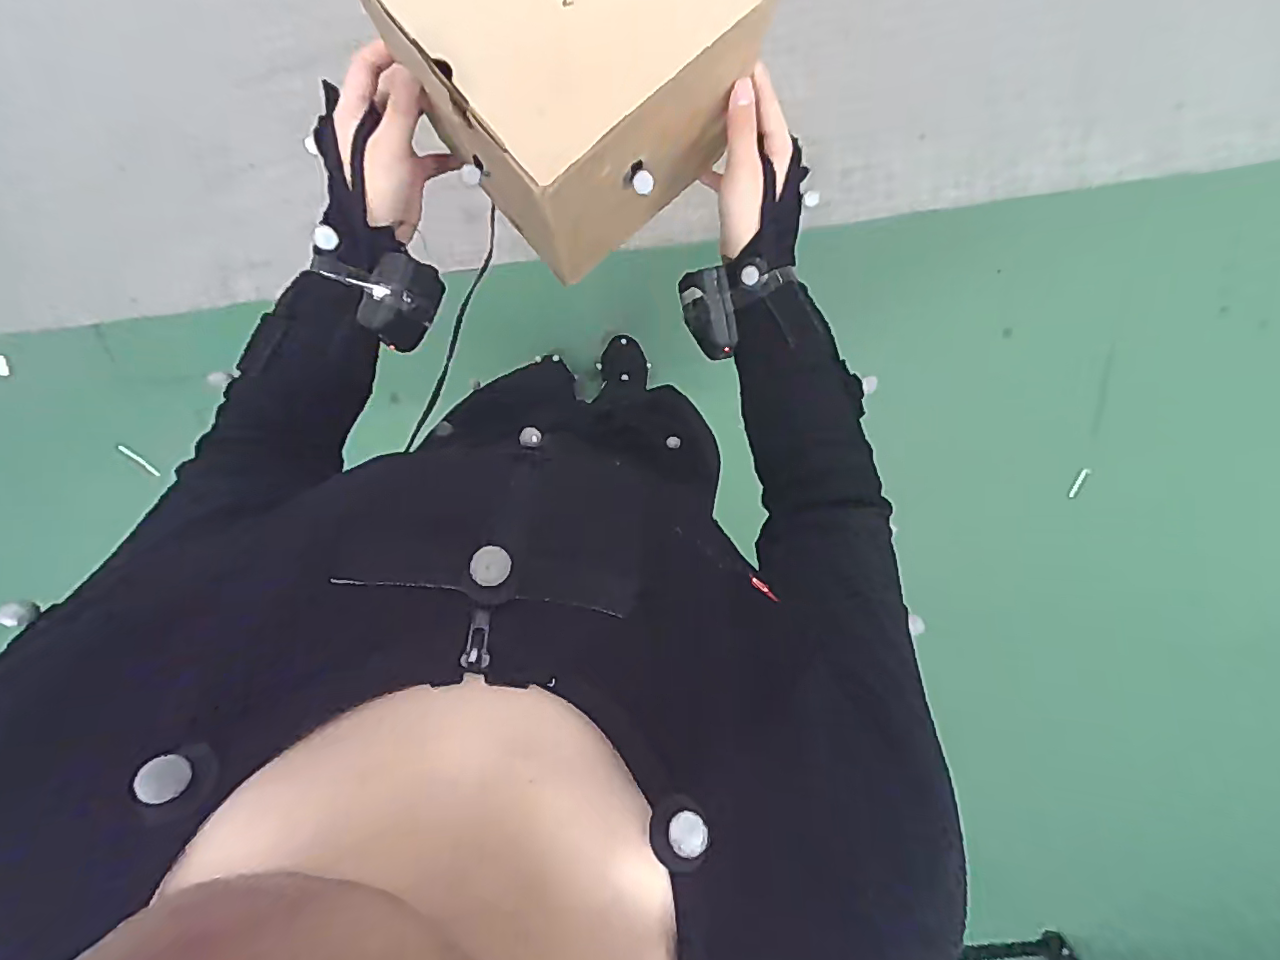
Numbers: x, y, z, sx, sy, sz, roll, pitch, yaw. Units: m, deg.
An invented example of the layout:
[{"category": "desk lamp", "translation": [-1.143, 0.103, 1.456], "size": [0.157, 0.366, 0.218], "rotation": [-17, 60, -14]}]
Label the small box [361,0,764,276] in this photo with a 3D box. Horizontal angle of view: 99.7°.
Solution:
[{"category": "small box", "translation": [-0.046, -0.277, 0.376], "size": [0.179, 0.176, 0.168], "rotation": [-41, 93, 0]}]
